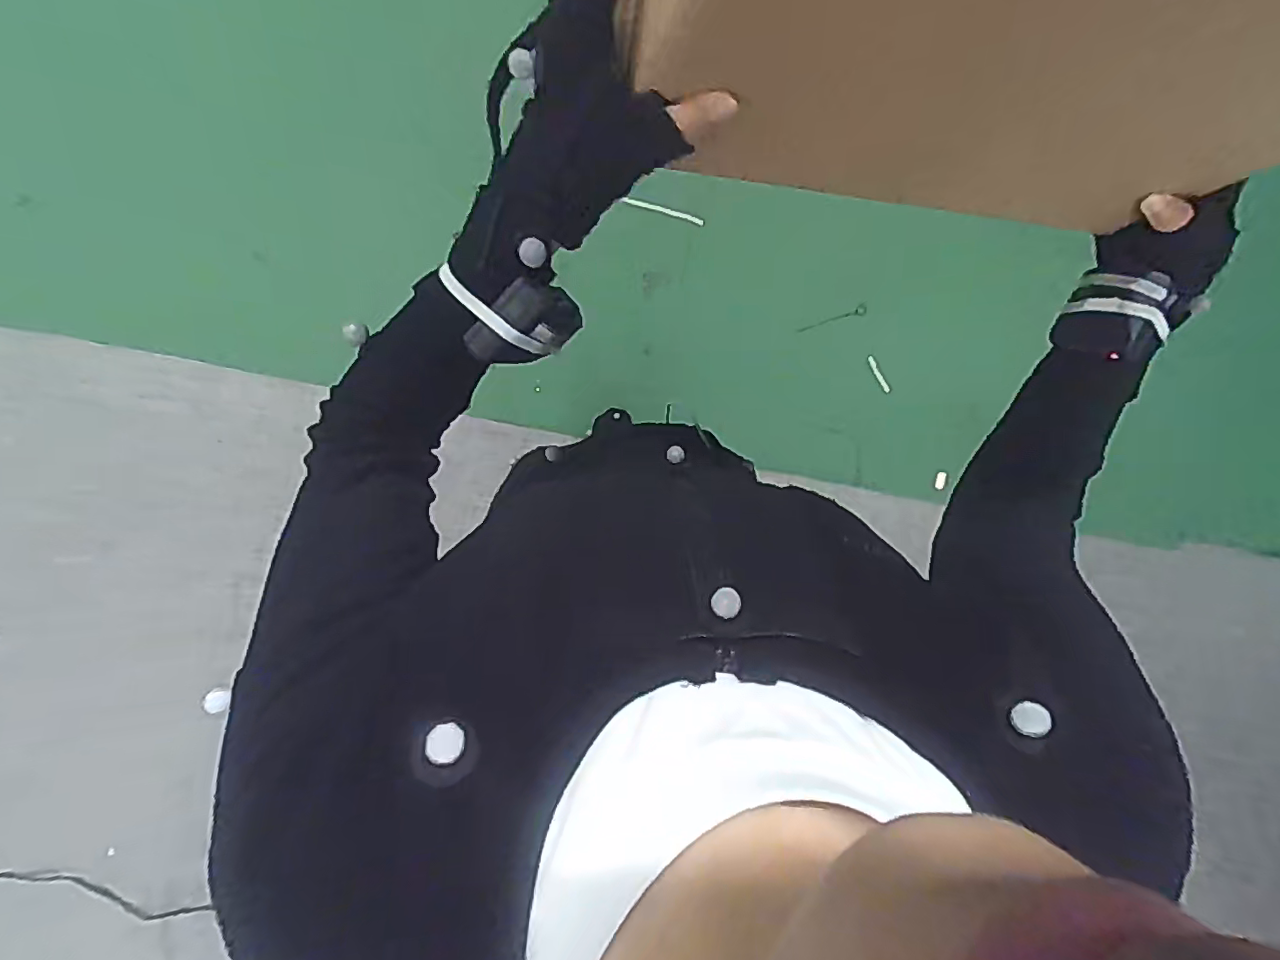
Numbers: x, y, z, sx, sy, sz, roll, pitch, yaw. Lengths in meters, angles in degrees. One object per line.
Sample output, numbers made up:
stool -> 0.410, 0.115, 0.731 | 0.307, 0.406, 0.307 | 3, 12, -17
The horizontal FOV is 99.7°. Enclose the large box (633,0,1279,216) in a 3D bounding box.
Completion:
large box -> 0.223, -0.349, 0.228 | 0.408, 0.320, 0.320 | -3, 91, -19
